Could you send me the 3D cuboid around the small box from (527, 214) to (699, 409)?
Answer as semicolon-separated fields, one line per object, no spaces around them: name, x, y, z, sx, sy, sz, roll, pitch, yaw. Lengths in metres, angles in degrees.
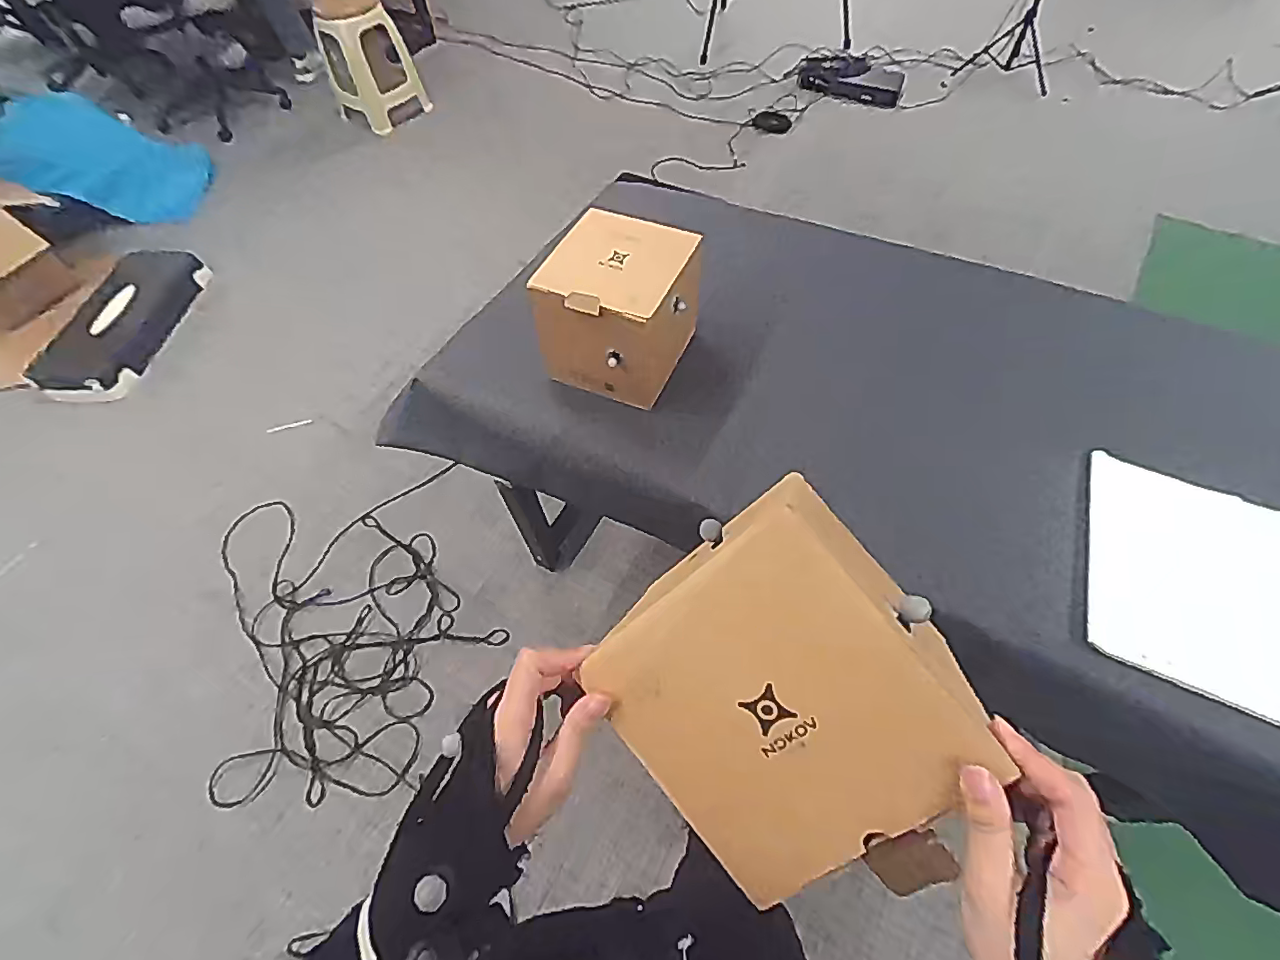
small box;-0.028;-0.227;0.745;0.168;0.176;0.179;21;59;13
